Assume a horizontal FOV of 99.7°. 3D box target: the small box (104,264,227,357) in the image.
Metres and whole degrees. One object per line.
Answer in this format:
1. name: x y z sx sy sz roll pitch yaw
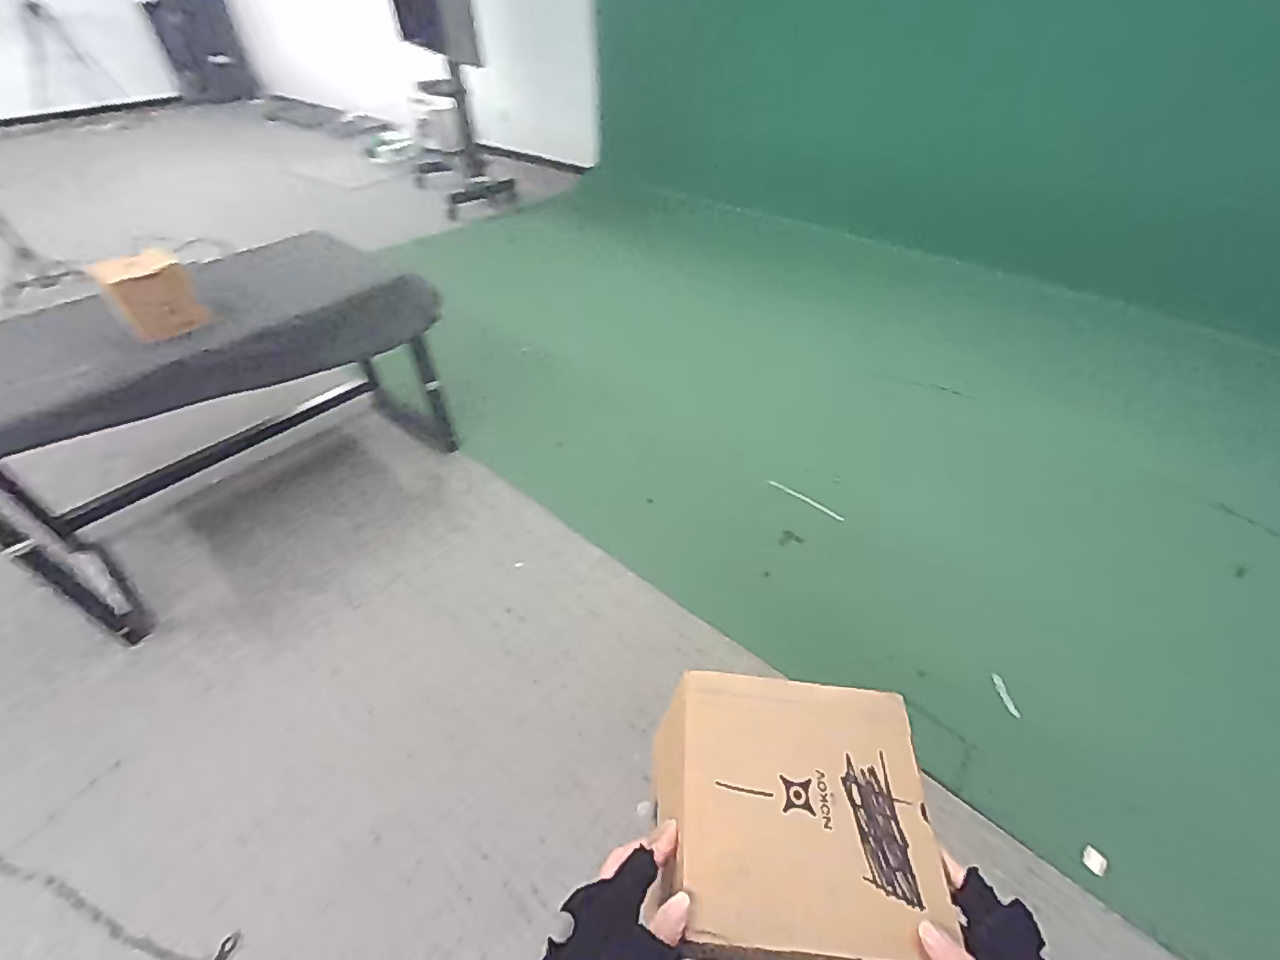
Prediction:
1. small box: -1.259 -0.451 1.446 0.179 0.176 0.168 29 52 29
